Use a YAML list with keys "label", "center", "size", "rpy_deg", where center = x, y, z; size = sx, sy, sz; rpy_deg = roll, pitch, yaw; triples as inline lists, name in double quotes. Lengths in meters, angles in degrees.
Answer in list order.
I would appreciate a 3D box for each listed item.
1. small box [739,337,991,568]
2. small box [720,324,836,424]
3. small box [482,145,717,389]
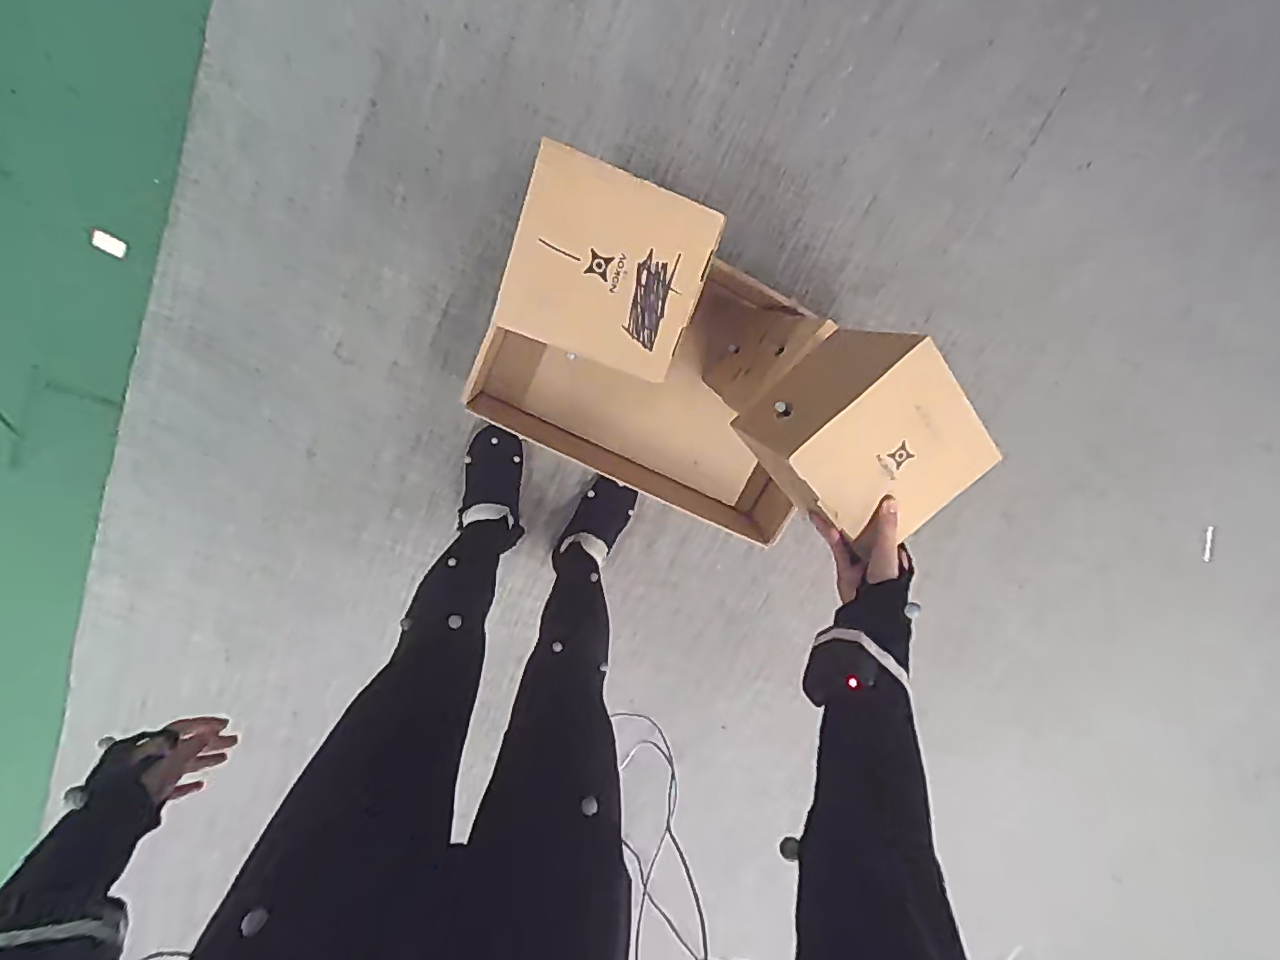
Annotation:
- label: "small box"
  center: [0.232, -0.040, 0.609]
  size: [0.179, 0.176, 0.168]
  rpy_deg: [-41, 109, 5]
- label: "small box"
  center: [0.244, -0.114, 0.806]
  size: [0.179, 0.176, 0.168]
  rpy_deg: [36, 103, -15]
- label: "small box"
  center: [-0.043, -0.213, 0.572]
  size: [0.179, 0.176, 0.168]
  rpy_deg: [19, 105, -9]
